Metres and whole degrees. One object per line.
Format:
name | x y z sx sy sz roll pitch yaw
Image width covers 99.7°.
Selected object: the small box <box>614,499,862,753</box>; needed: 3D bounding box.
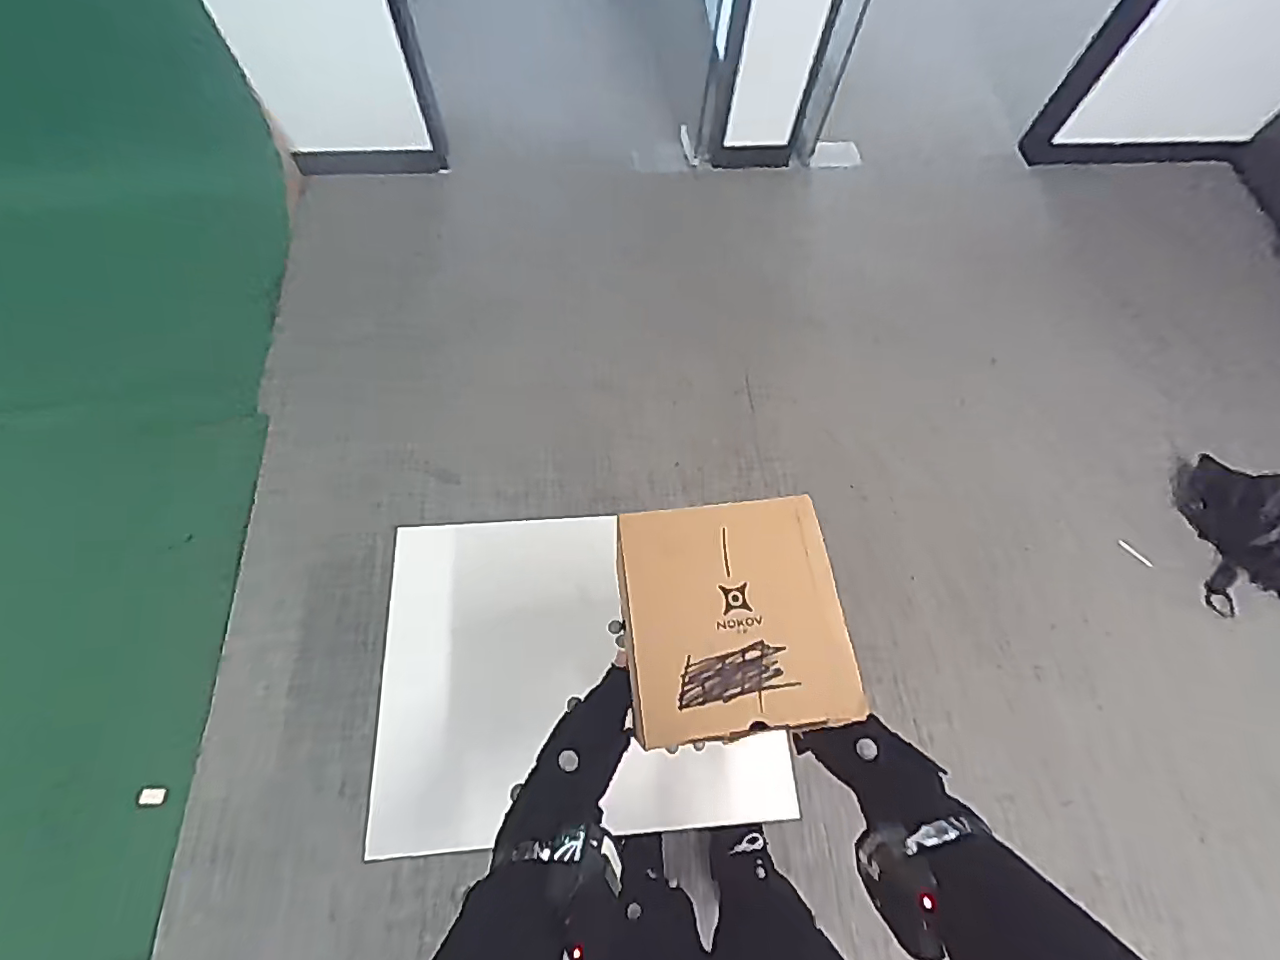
small box | 0.069 0.135 0.490 0.168 0.176 0.179 -7 66 -5
